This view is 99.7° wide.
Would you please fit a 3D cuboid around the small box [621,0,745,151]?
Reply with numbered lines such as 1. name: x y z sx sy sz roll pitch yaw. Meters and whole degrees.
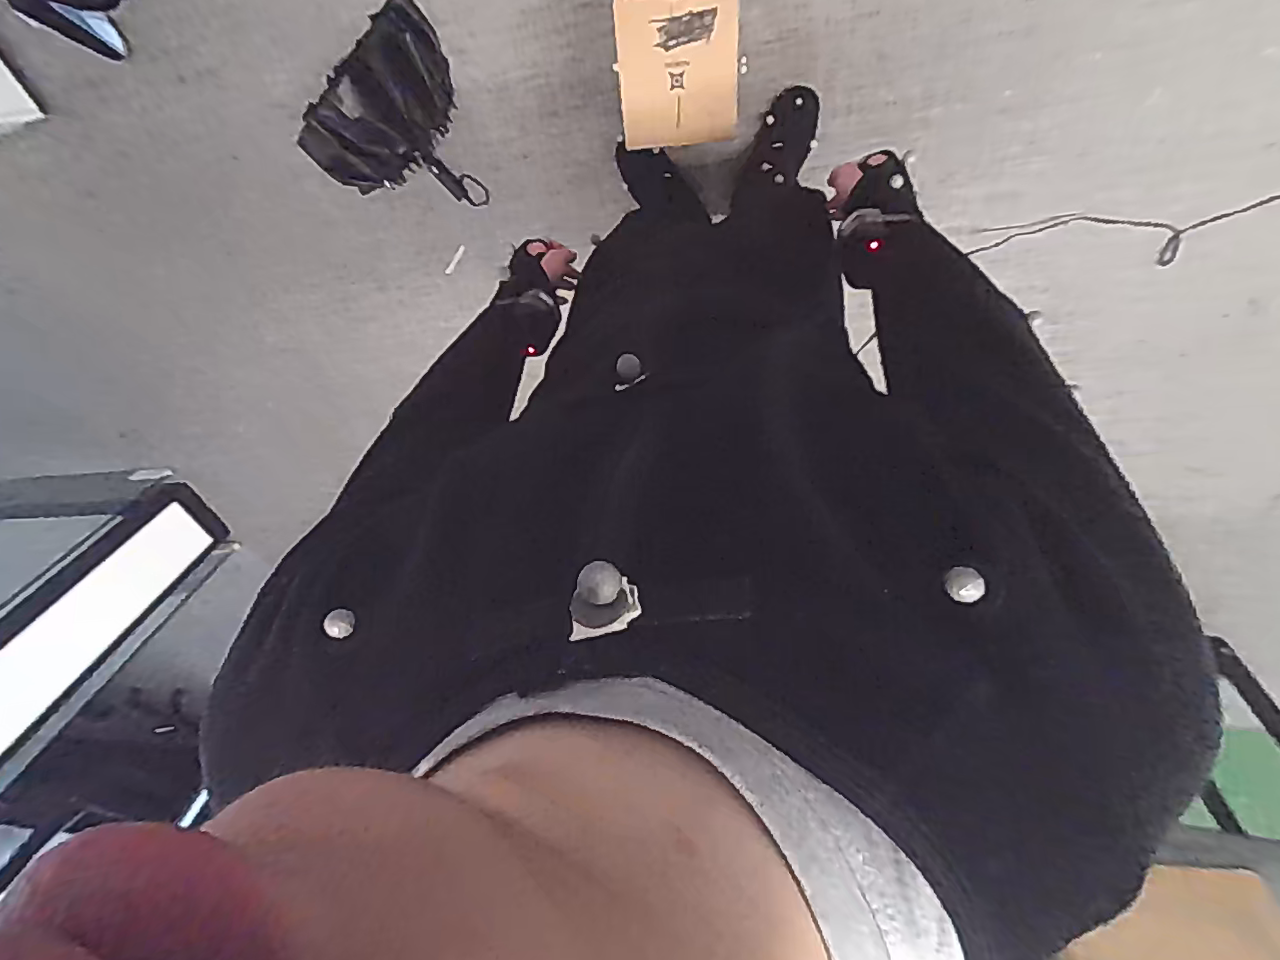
1. small box: 0.069 -0.613 0.811 0.168 0.176 0.179 1 130 9
